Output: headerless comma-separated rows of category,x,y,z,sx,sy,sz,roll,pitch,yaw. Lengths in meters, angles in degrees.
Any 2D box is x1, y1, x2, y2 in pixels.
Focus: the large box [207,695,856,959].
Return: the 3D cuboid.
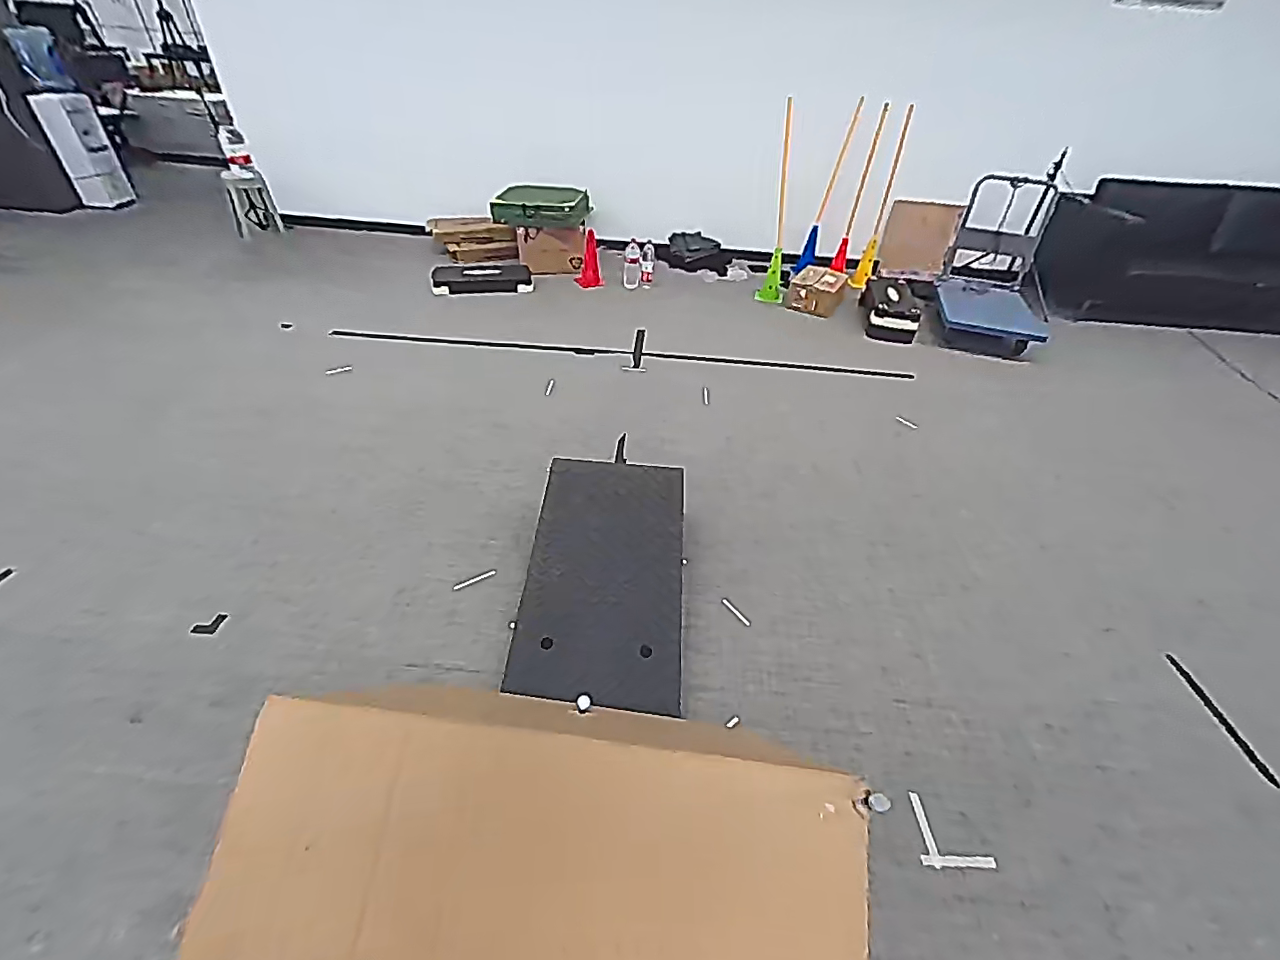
large box,-0.075,0.371,0.463,0.408,0.320,0.320,7,72,0
